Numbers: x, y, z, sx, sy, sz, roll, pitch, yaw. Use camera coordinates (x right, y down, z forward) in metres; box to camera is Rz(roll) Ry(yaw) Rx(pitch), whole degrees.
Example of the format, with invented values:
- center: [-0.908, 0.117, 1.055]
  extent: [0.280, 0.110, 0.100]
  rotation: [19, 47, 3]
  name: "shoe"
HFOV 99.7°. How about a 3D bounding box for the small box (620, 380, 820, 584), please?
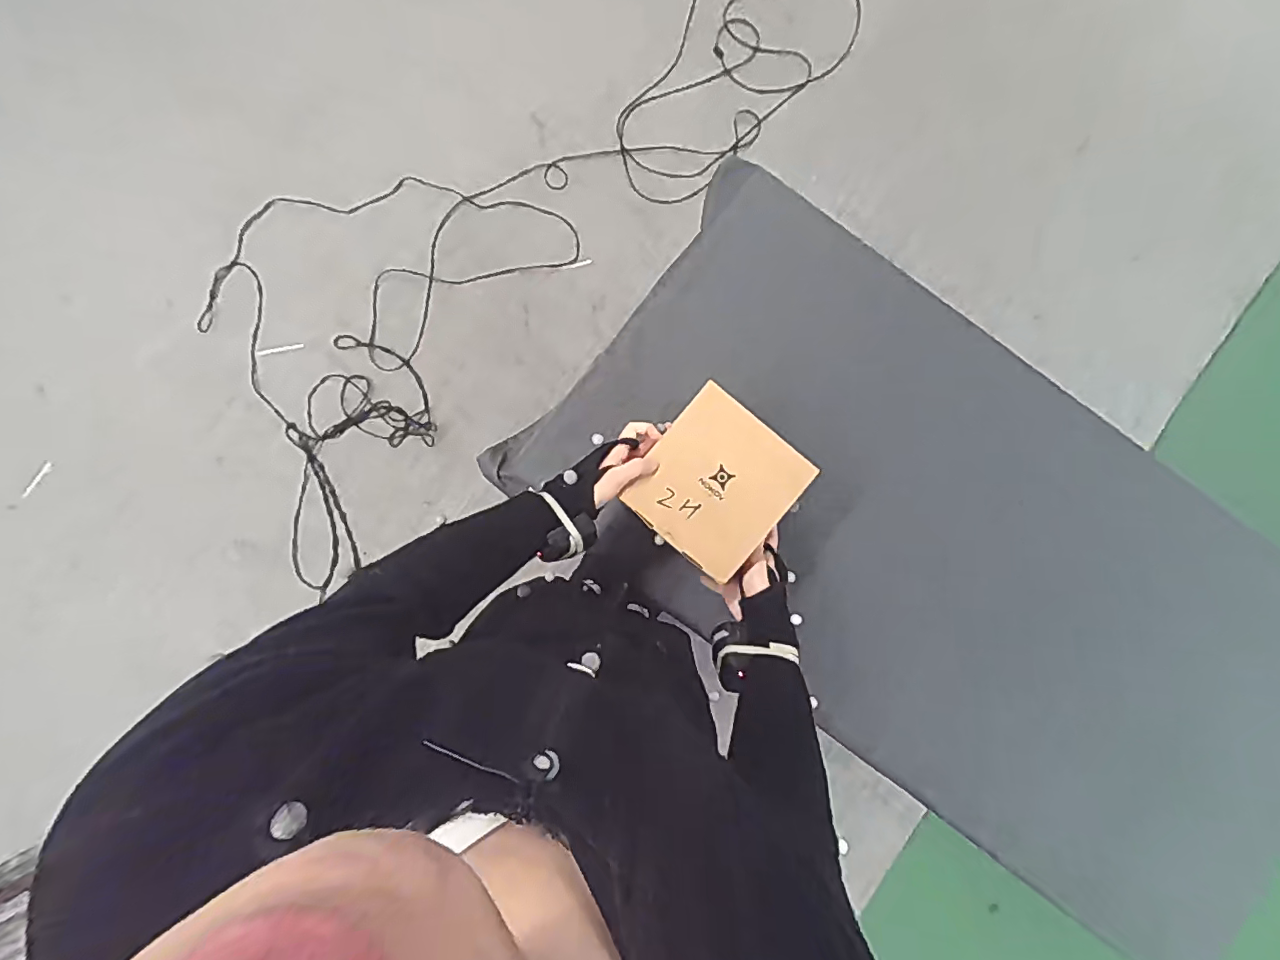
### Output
- center: [0.089, 0.004, 0.691]
  extent: [0.168, 0.176, 0.179]
  rotation: [40, 87, 2]
  name: "small box"
